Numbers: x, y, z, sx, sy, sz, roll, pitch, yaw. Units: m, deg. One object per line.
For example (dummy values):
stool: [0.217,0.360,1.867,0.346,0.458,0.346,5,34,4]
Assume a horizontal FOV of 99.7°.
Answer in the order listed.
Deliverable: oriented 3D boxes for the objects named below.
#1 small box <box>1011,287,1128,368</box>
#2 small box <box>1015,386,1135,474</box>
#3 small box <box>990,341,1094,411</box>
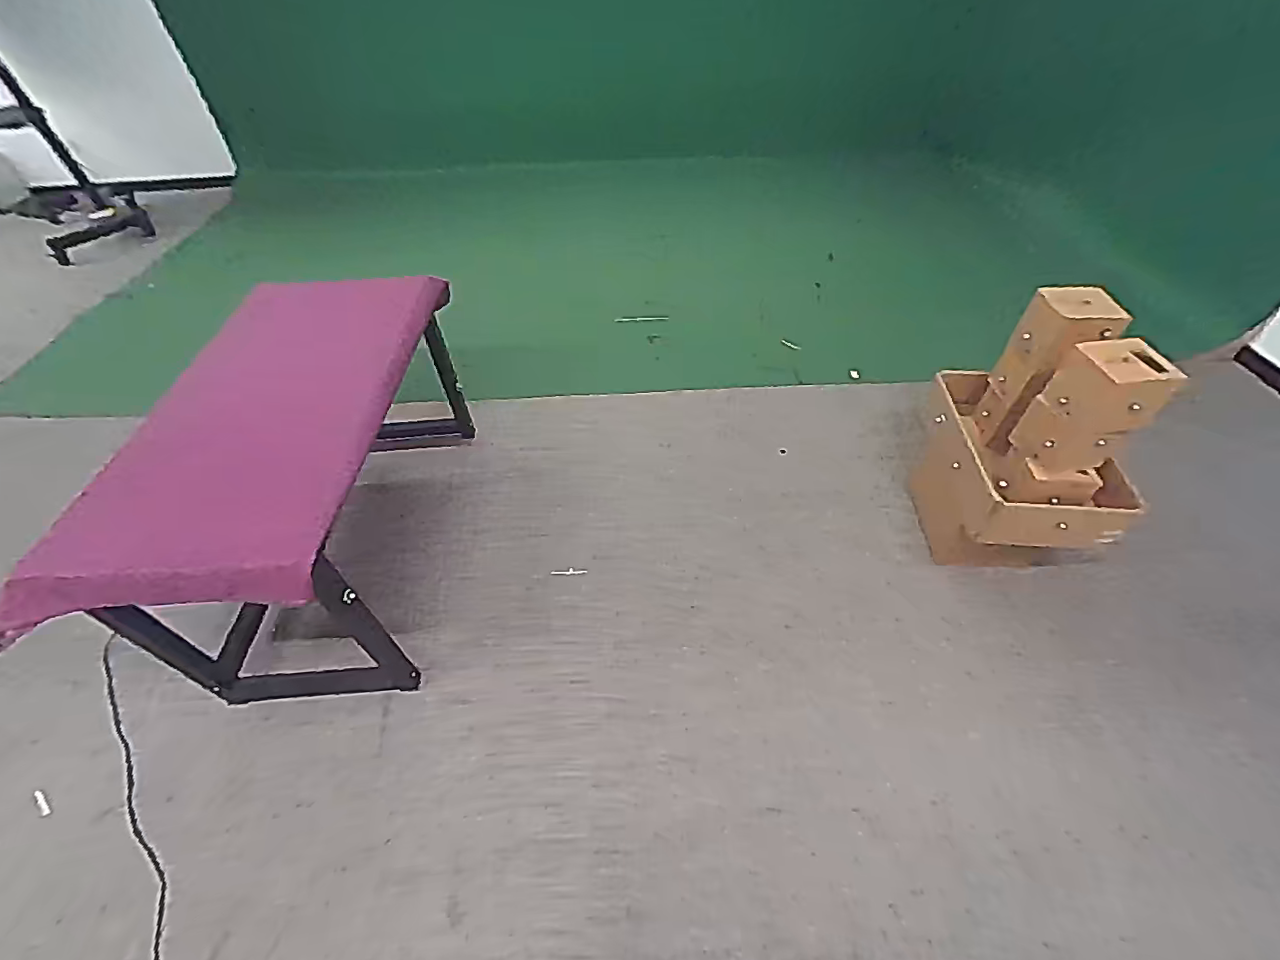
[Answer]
small box: [1.224,-0.436,1.556,0.179,0.176,0.168,1,47,3]
small box: [1.188,-0.135,1.502,0.179,0.176,0.168,-10,48,-8]
small box: [1.237,-0.327,1.679,0.179,0.176,0.168,0,47,3]
